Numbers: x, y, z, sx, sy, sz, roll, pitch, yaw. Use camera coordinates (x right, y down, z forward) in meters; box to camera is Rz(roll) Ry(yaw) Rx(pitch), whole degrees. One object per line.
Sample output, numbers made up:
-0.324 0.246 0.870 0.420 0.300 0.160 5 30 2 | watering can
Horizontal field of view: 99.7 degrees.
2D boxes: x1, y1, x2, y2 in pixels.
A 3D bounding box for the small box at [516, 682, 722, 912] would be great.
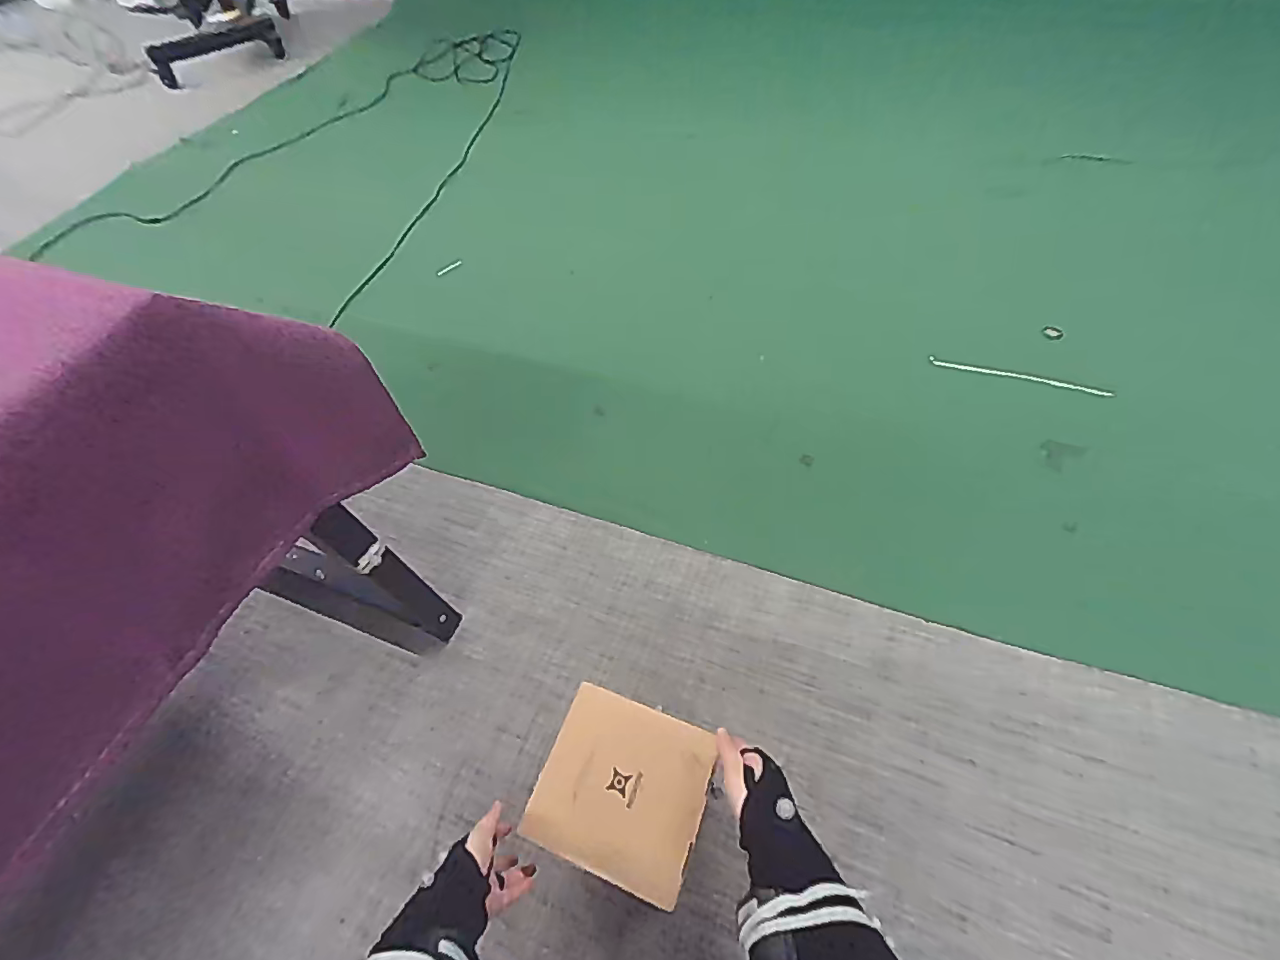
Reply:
-0.014 0.368 0.641 0.179 0.176 0.168 16 58 16 | small box
